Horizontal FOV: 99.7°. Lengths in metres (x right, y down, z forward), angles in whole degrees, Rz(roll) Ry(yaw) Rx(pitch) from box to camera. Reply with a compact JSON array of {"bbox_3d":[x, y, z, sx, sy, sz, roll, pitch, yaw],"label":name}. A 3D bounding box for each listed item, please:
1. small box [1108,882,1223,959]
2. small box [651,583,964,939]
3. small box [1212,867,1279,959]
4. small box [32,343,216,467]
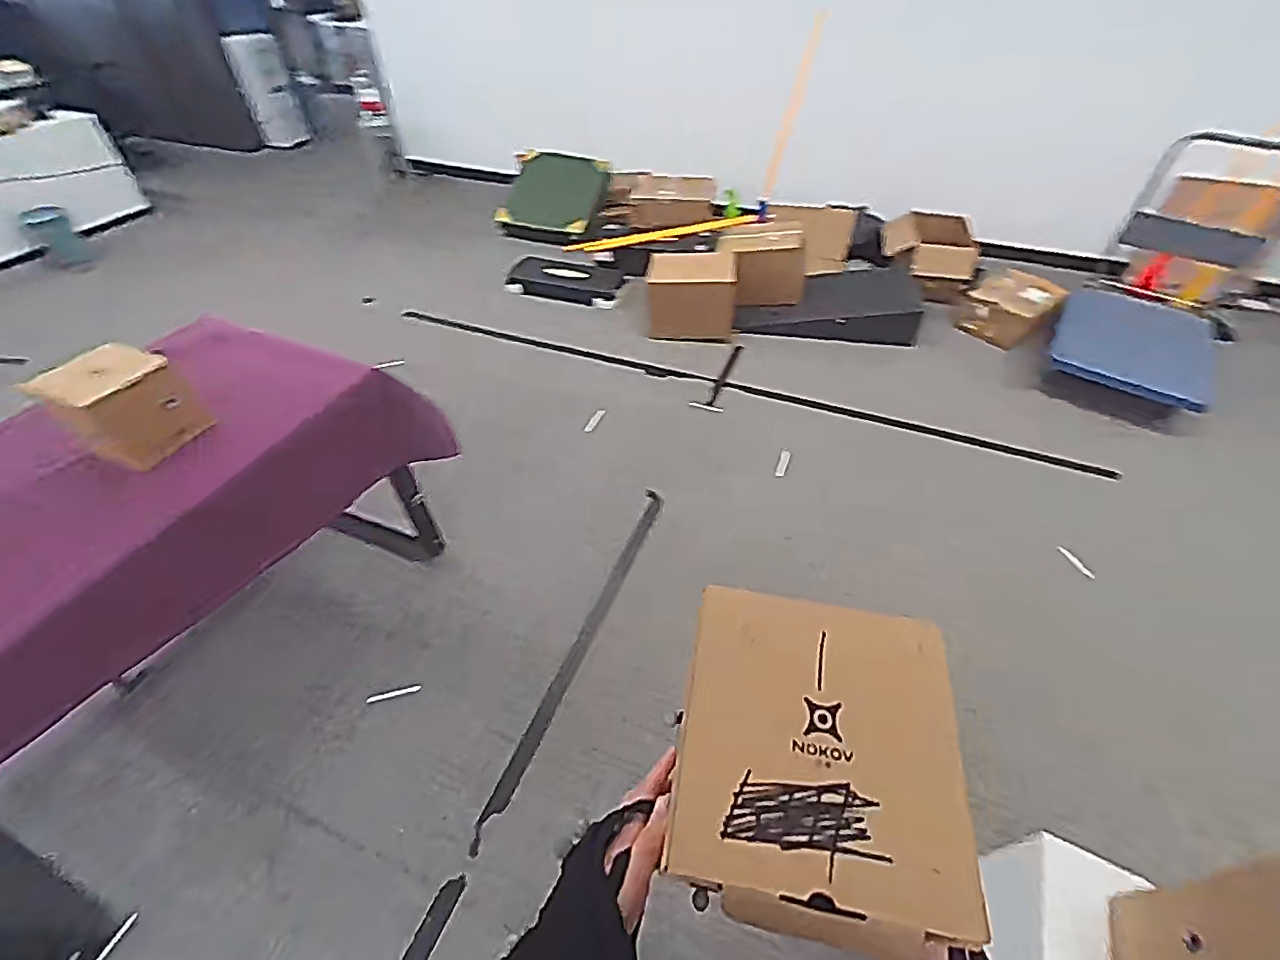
[{"bbox_3d":[0.665,0.583,0.590,0.179,0.176,0.168,23,50,18],"label":"small box"},{"bbox_3d":[0.103,0.201,0.397,0.168,0.176,0.179,8,54,6],"label":"small box"},{"bbox_3d":[0.663,0.469,0.471,0.168,0.176,0.179,21,51,19],"label":"small box"},{"bbox_3d":[-1.025,-0.148,1.093,0.179,0.176,0.168,16,48,16],"label":"small box"}]
